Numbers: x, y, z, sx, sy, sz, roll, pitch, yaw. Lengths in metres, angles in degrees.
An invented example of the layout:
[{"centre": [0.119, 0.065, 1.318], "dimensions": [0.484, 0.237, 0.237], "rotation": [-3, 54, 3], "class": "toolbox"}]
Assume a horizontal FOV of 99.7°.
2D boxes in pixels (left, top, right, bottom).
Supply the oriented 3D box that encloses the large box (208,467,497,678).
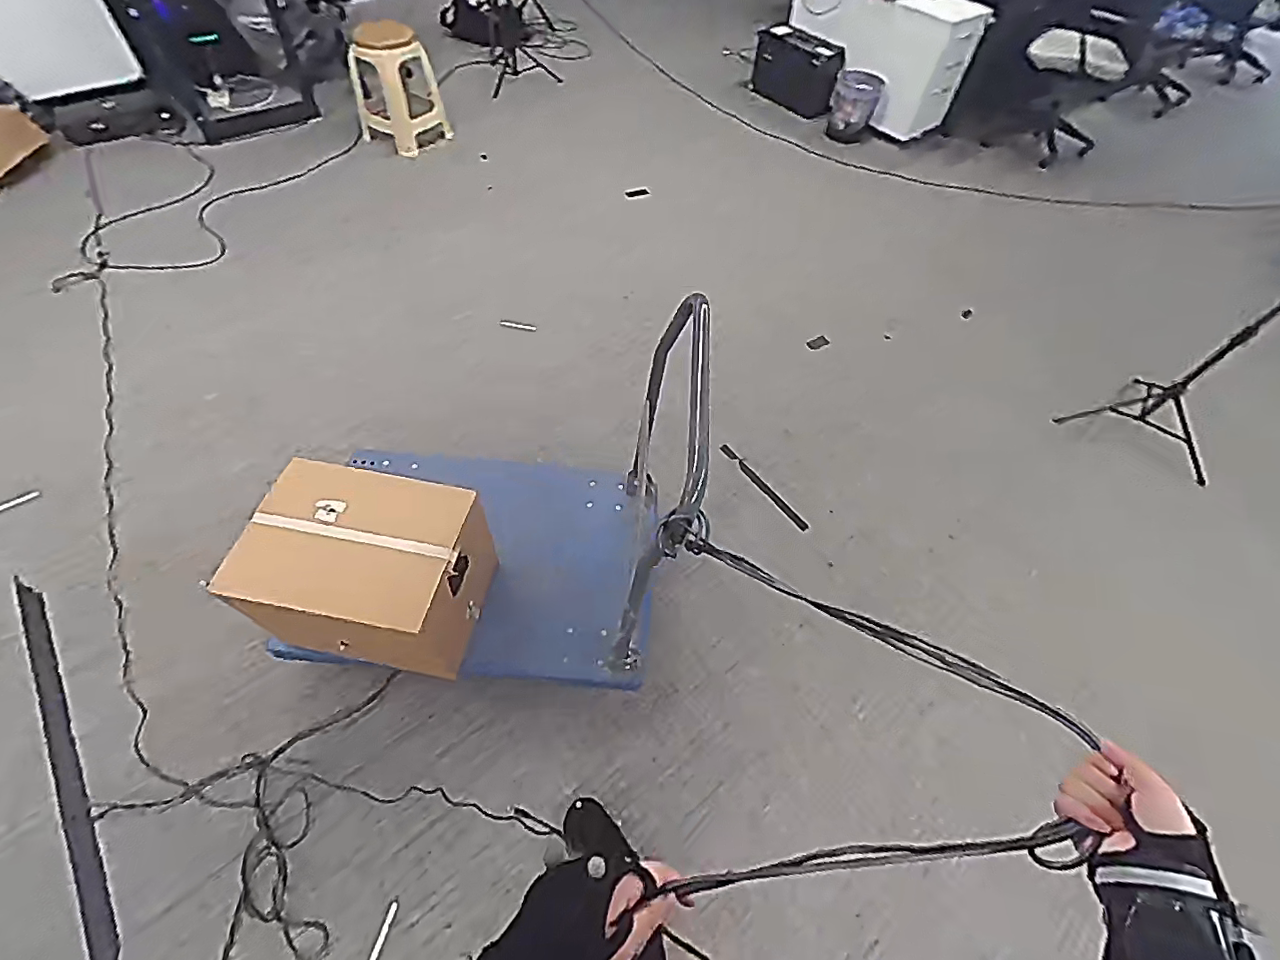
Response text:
[{"centre": [-0.565, 0.208, 1.168], "dimensions": [0.408, 0.320, 0.320], "rotation": [10, 55, 3], "class": "large box"}]
